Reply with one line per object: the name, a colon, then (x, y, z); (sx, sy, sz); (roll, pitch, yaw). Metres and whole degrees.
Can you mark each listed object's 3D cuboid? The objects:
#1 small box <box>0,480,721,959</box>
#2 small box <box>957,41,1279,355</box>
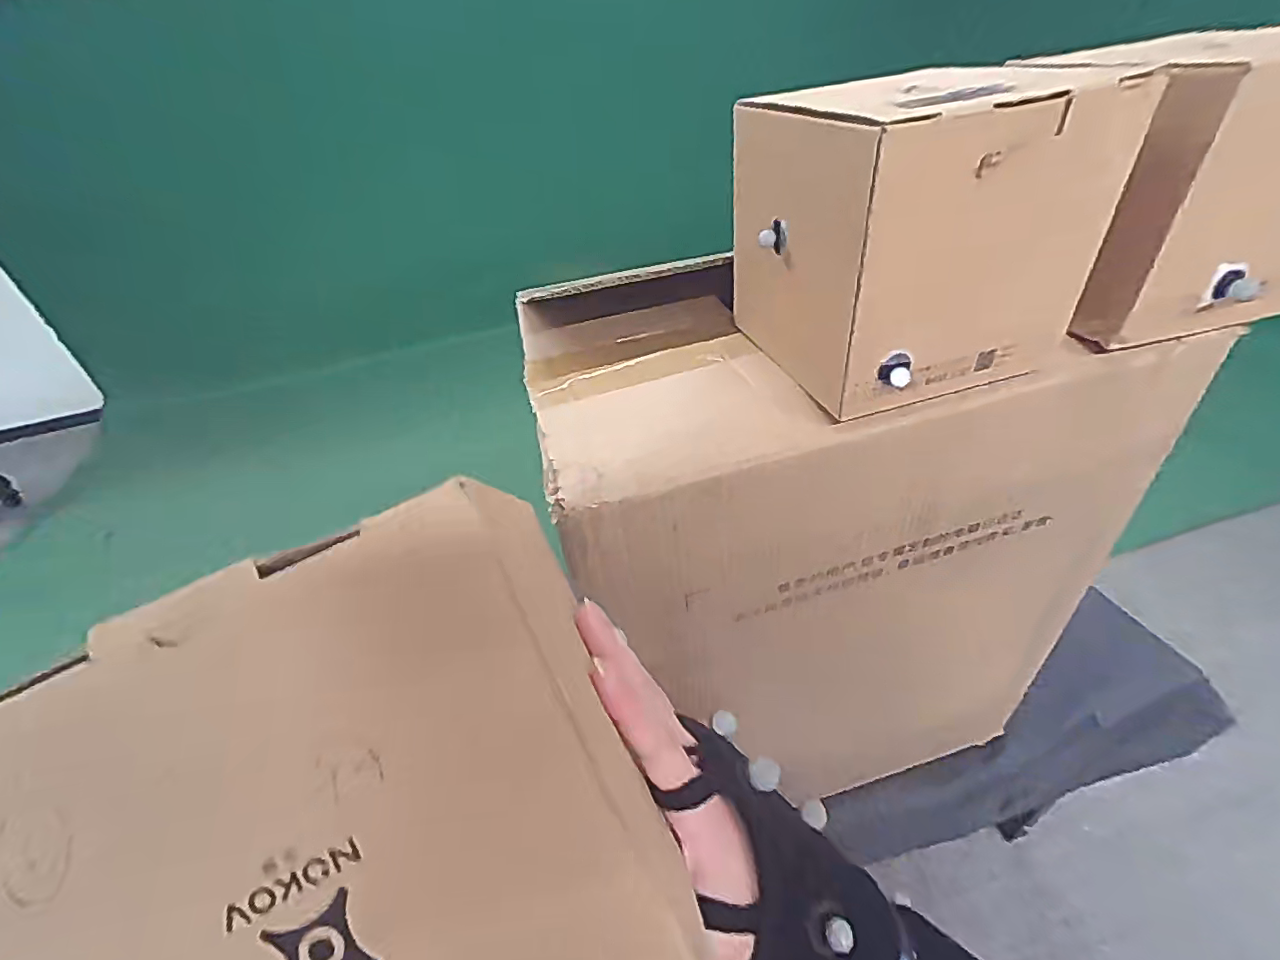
small box: (-0.088, 0.119, 0.227); (0.168, 0.179, 0.176); (-26, -3, -6)
small box: (0.383, -0.216, 0.411); (0.168, 0.176, 0.179); (-14, 40, -7)
